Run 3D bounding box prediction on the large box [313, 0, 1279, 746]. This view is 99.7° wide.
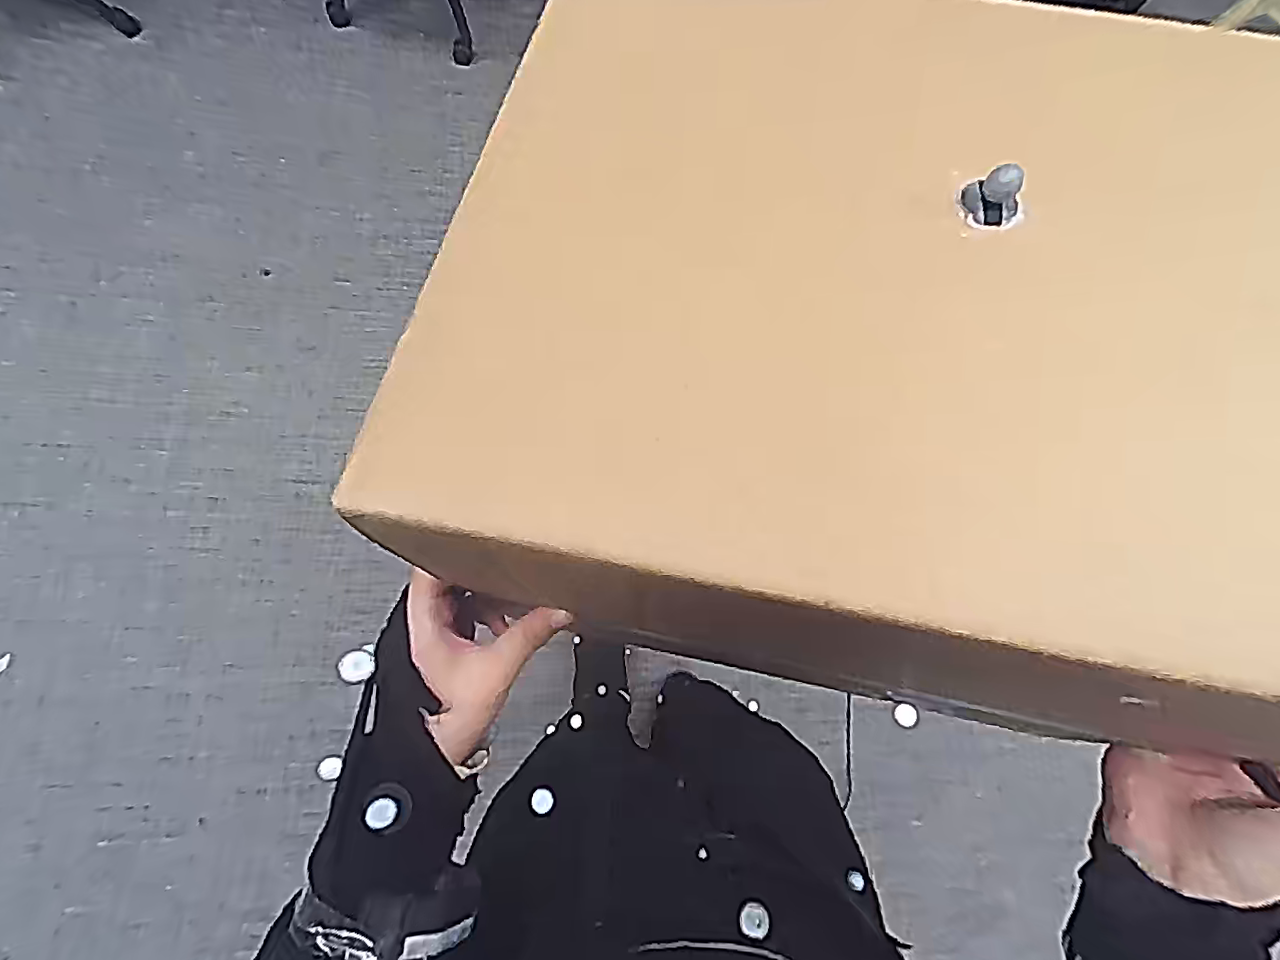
[{"bbox_3d":[0.115,-0.044,0.346,0.408,0.320,0.320,9,71,4],"label":"large box"}]
